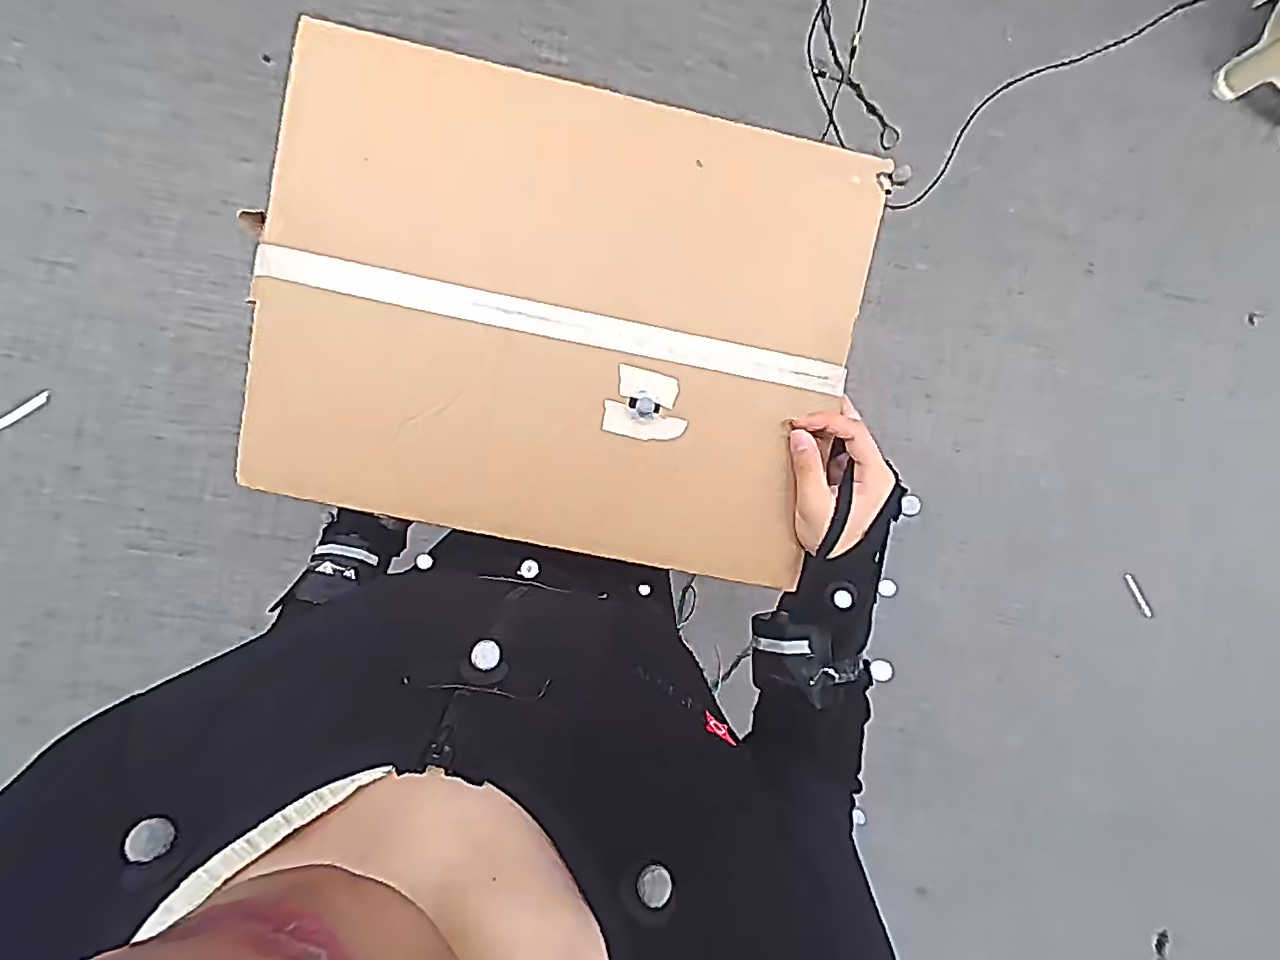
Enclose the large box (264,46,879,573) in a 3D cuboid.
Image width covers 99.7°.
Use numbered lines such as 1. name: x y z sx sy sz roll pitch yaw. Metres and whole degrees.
1. large box: -0.058 -0.122 0.533 0.408 0.320 0.320 10 95 -5
